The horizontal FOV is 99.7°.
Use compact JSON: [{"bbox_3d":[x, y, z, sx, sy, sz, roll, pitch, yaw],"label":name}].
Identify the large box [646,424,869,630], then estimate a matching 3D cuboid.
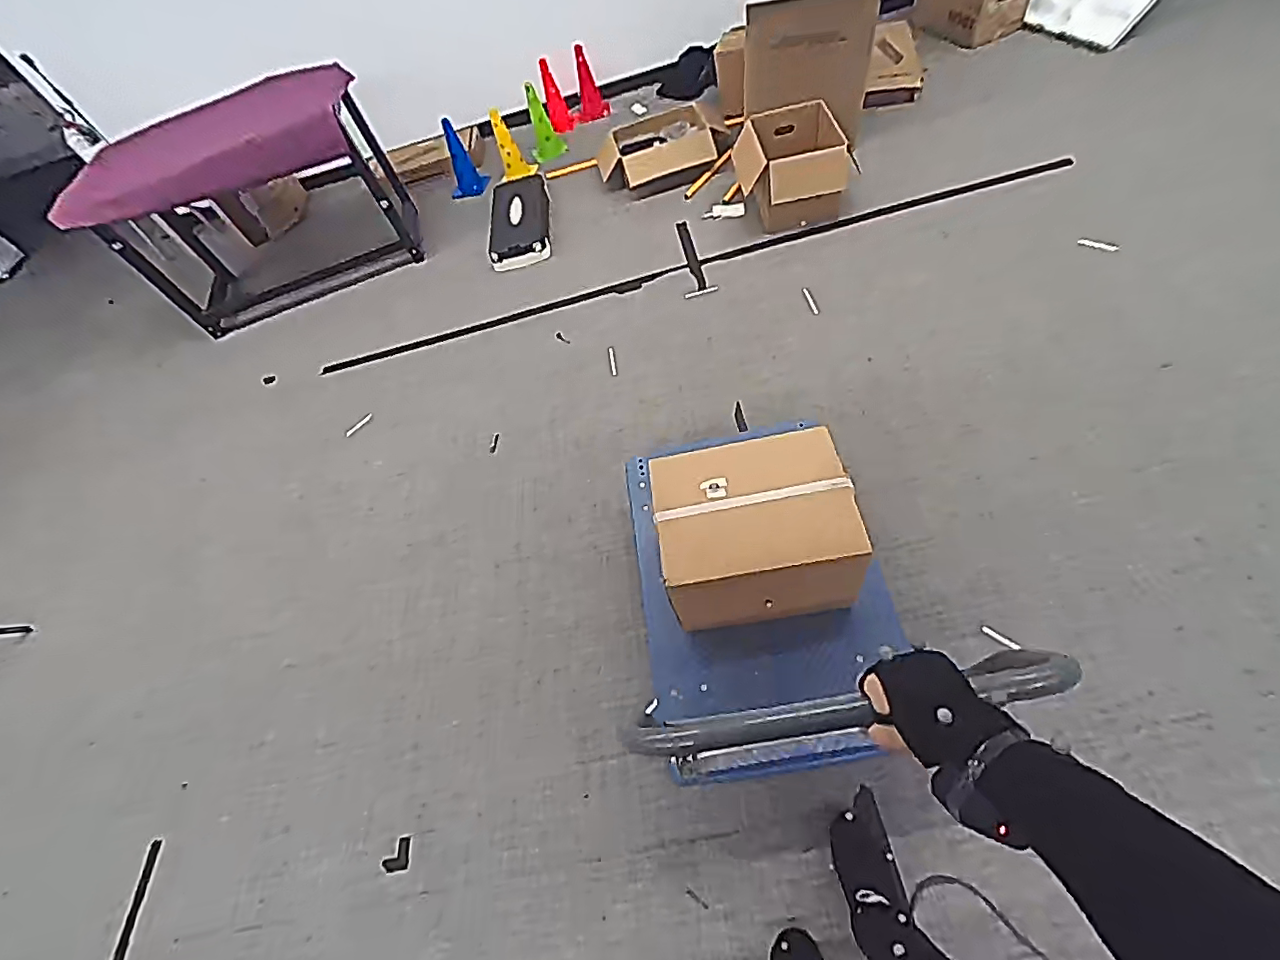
[{"bbox_3d":[0.255,0.122,1.240,0.408,0.320,0.320,-12,55,7],"label":"large box"}]
